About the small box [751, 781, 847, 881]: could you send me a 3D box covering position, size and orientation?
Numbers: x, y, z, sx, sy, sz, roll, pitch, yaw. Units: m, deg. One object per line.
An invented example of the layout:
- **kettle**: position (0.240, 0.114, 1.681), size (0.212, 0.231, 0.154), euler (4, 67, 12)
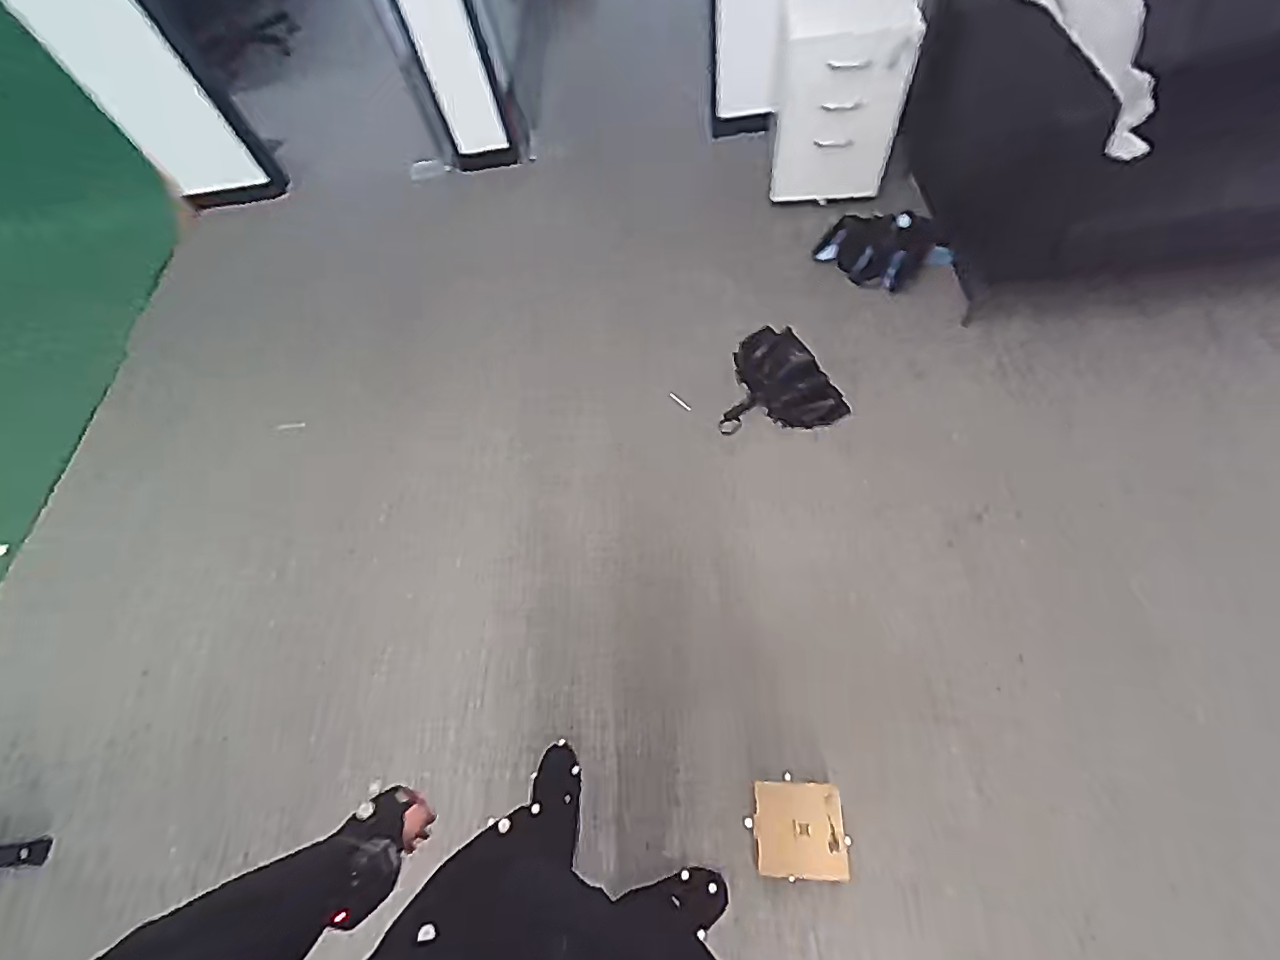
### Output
- **small box**: position (0.332, 0.750, 1.169), size (0.179, 0.176, 0.168), euler (-2, 61, 7)
